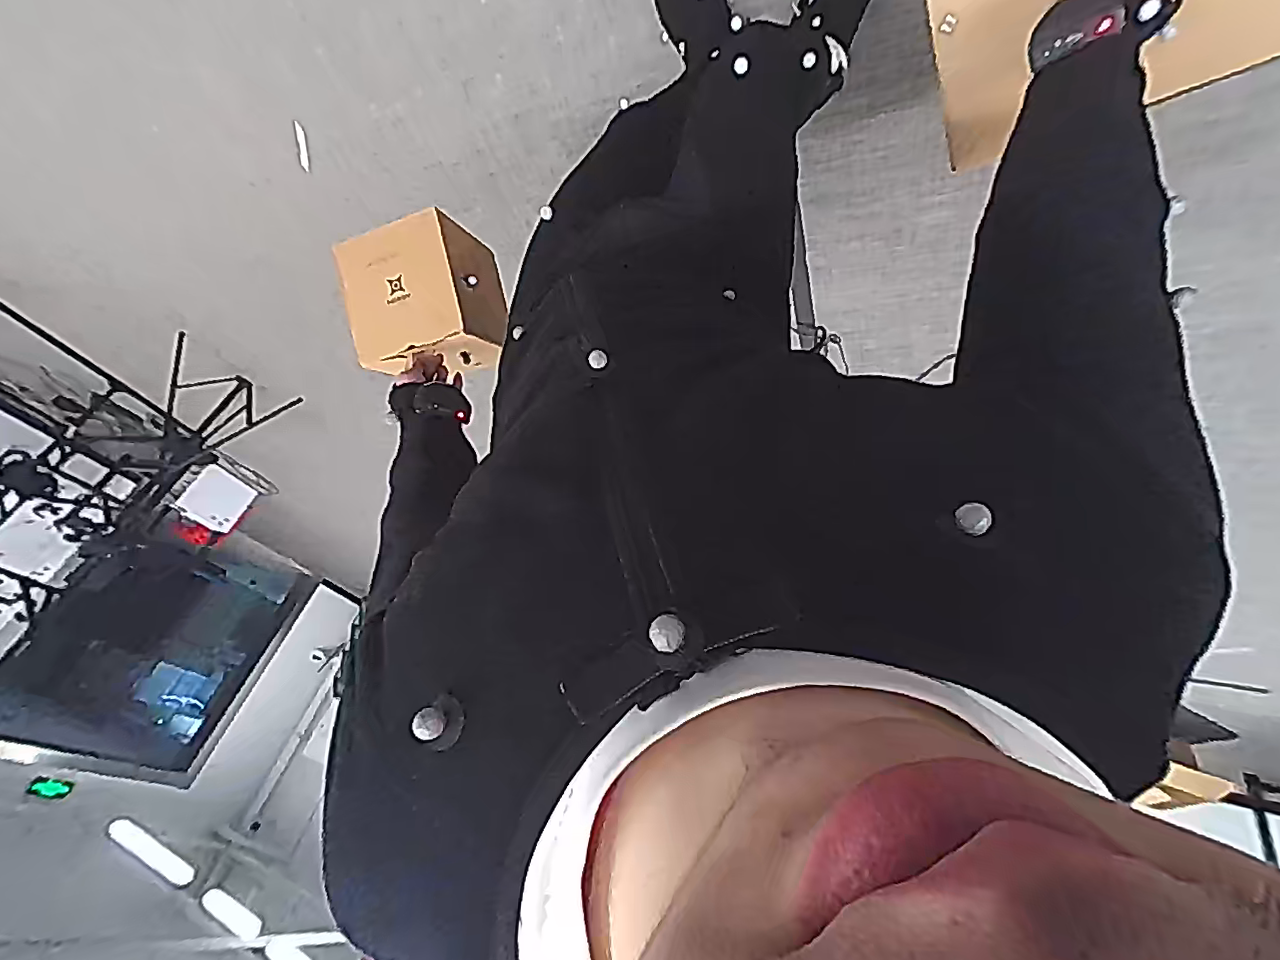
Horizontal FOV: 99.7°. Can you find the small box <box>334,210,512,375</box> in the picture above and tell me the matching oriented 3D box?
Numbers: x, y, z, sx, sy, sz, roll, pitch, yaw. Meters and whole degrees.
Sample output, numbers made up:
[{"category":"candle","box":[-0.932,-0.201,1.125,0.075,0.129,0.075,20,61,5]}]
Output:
[{"category":"small box","box":[-0.312,-0.264,0.813,0.168,0.179,0.176,-14,180,11]}]
